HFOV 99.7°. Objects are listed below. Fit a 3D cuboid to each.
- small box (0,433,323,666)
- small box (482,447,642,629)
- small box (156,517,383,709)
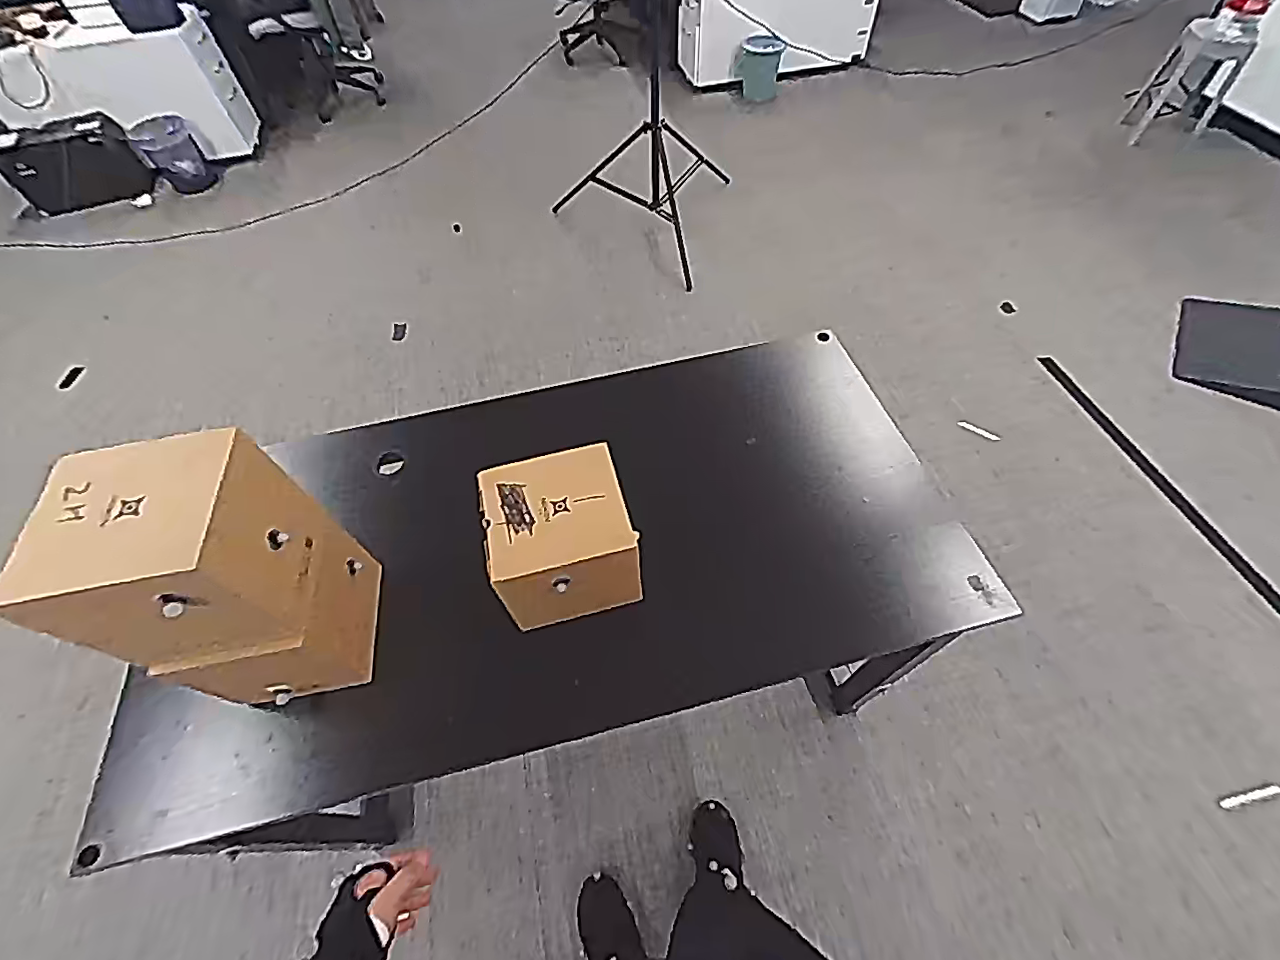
[{"bbox_3d":[-0.466,0.078,0.564,0.179,0.176,0.168,-11,55,-3],"label":"small box"},{"bbox_3d":[-0.101,0.085,0.738,0.179,0.176,0.168,-13,56,-7],"label":"small box"},{"bbox_3d":[-0.452,0.175,0.697,0.168,0.176,0.179,-11,57,-3],"label":"small box"}]
